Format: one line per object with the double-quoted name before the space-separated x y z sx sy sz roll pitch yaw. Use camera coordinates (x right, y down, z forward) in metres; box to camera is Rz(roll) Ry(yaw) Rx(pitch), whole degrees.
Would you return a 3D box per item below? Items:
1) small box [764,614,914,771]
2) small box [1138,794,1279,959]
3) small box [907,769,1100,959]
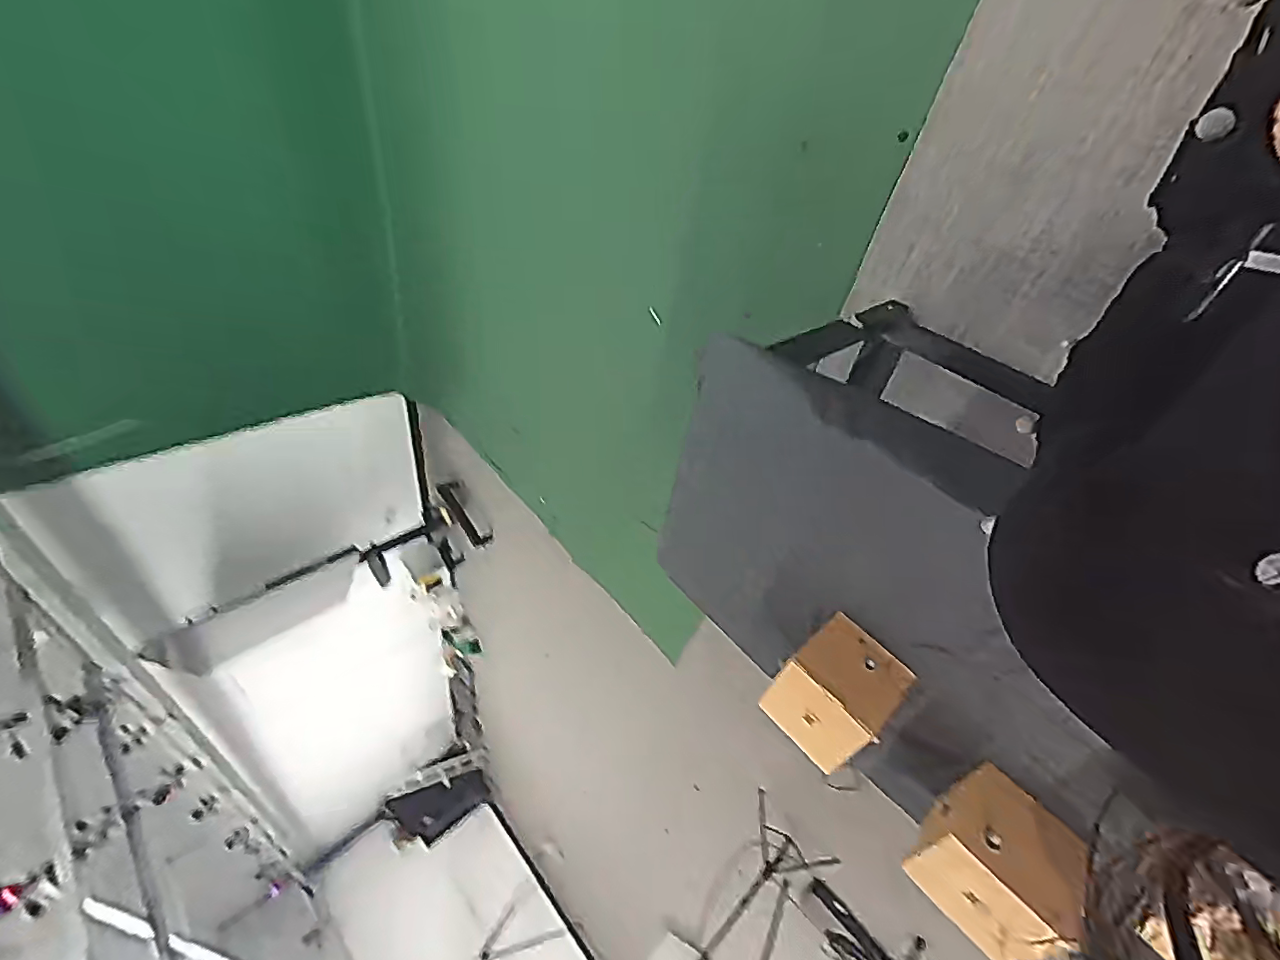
"small box" 0.365 0.383 0.992 0.168 0.176 0.179 41 137 28
"small box" 0.729 0.492 0.609 0.179 0.176 0.168 41 139 26
"small box" 0.574 0.598 0.860 0.179 0.176 0.168 40 137 28
